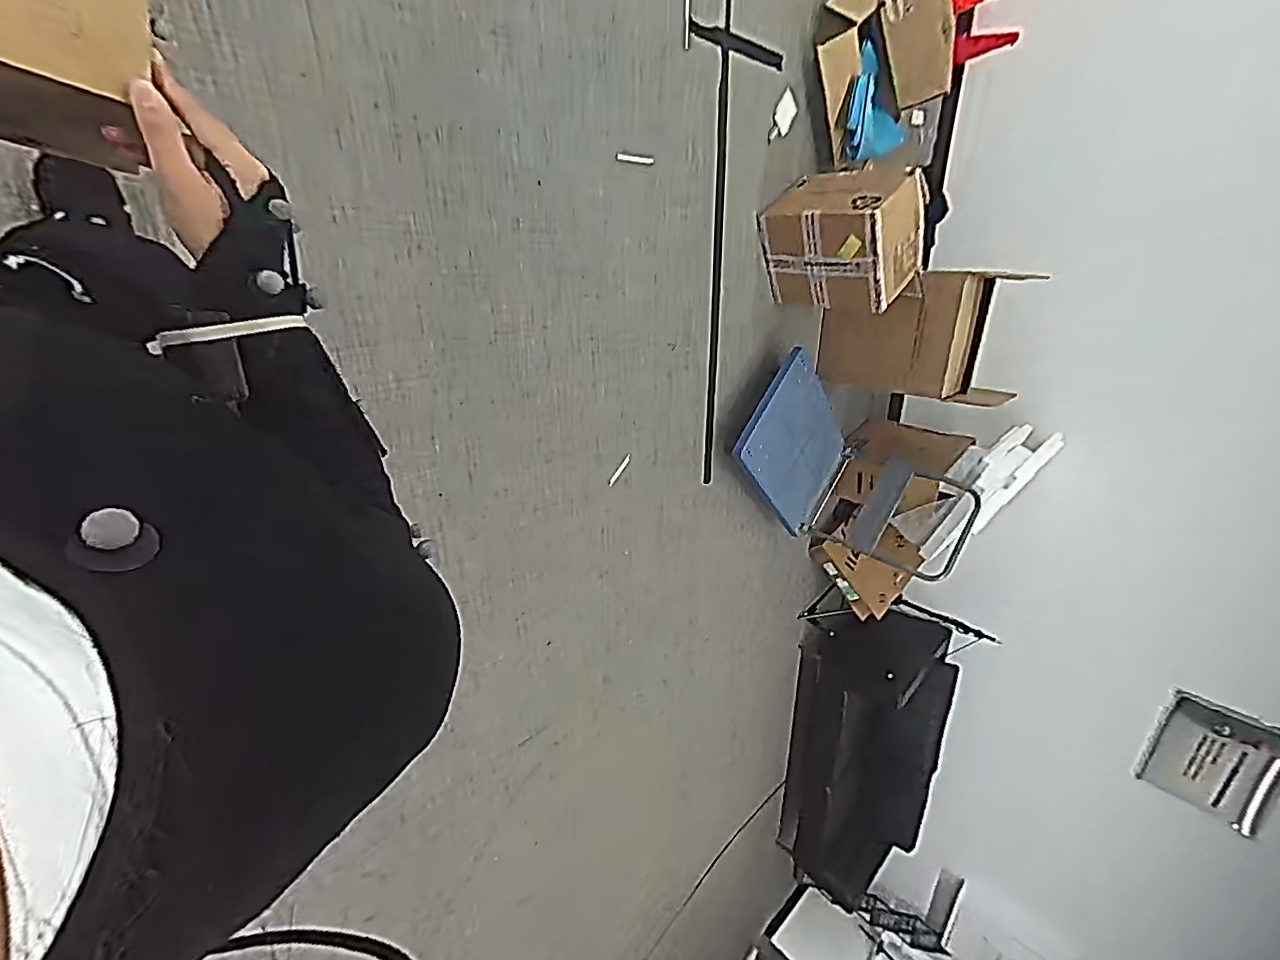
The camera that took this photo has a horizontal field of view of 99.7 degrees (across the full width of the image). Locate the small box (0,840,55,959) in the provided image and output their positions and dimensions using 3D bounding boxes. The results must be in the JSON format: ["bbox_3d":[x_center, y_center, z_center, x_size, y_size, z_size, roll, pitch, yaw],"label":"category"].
[{"bbox_3d":[-0.934,0.639,0.724,0.168,0.176,0.179,-24,121,-39],"label":"small box"}]

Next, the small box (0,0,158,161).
[{"bbox_3d":[-0.400,-0.324,0.315,0.168,0.176,0.179,-2,101,-45],"label":"small box"}]
